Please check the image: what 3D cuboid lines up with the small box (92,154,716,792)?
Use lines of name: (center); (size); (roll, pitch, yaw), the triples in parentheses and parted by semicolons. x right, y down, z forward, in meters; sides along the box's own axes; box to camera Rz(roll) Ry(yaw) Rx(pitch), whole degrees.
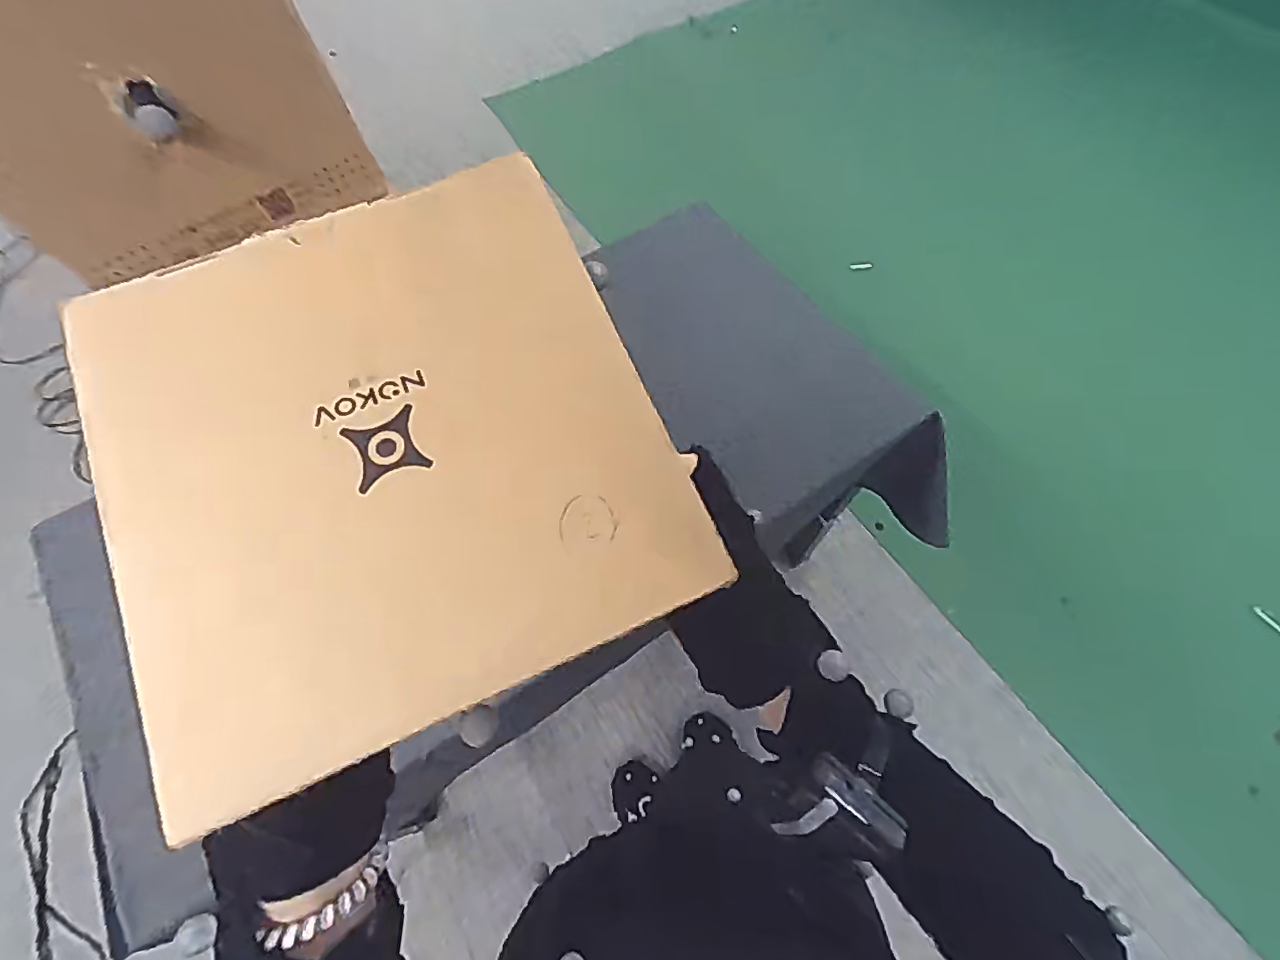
small box: (-0.083, 0.002, 0.254); (0.168, 0.176, 0.179); (-23, 75, -8)
